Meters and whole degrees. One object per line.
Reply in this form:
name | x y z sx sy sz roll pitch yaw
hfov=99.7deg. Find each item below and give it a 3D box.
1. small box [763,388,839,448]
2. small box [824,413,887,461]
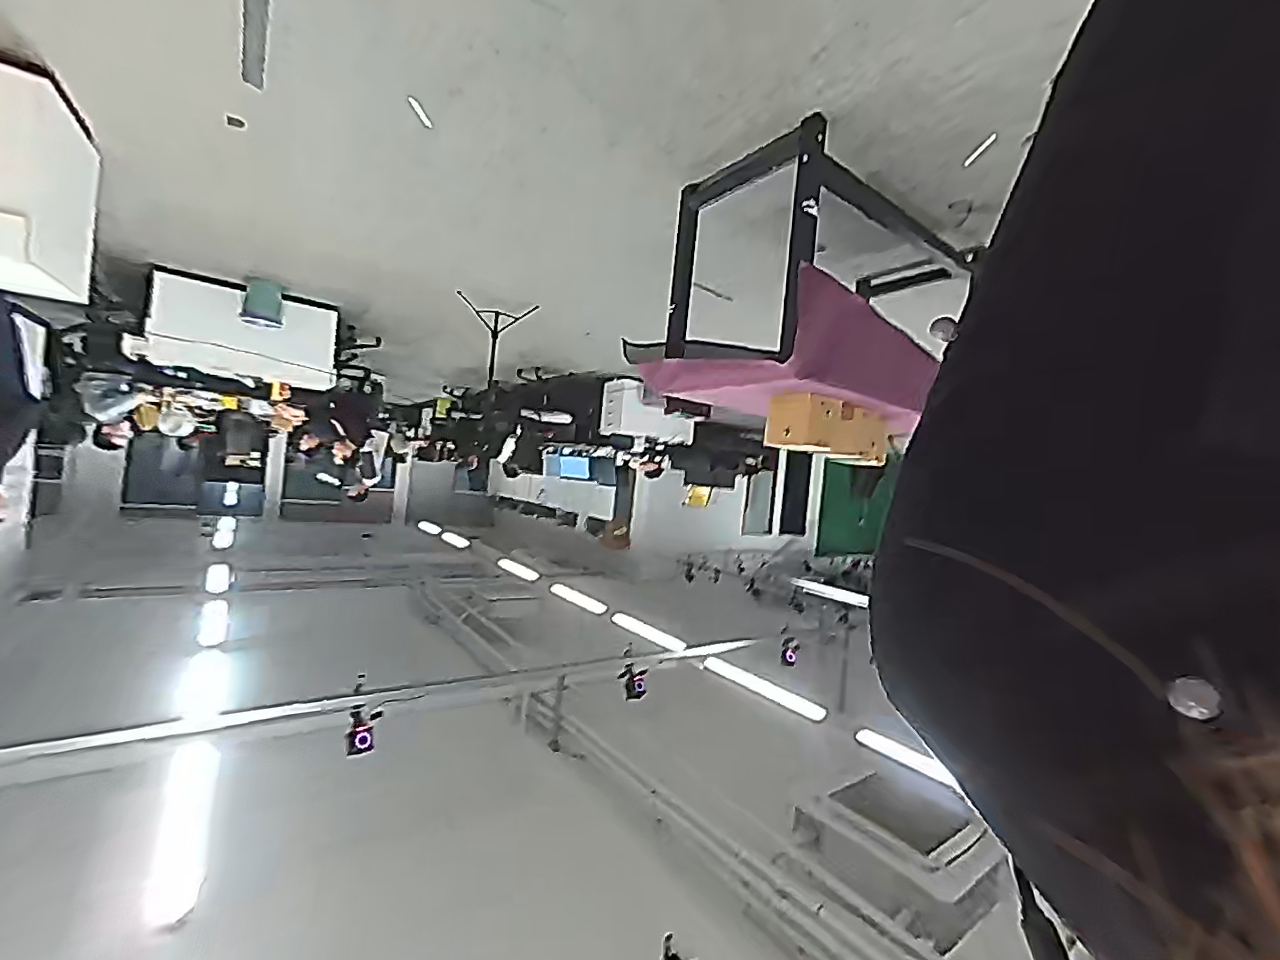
small box | 0.533 -0.202 1.780 0.168 0.176 0.179 5 -179 -35
small box | 0.865 -0.171 2.165 0.168 0.176 0.179 5 -179 -37
